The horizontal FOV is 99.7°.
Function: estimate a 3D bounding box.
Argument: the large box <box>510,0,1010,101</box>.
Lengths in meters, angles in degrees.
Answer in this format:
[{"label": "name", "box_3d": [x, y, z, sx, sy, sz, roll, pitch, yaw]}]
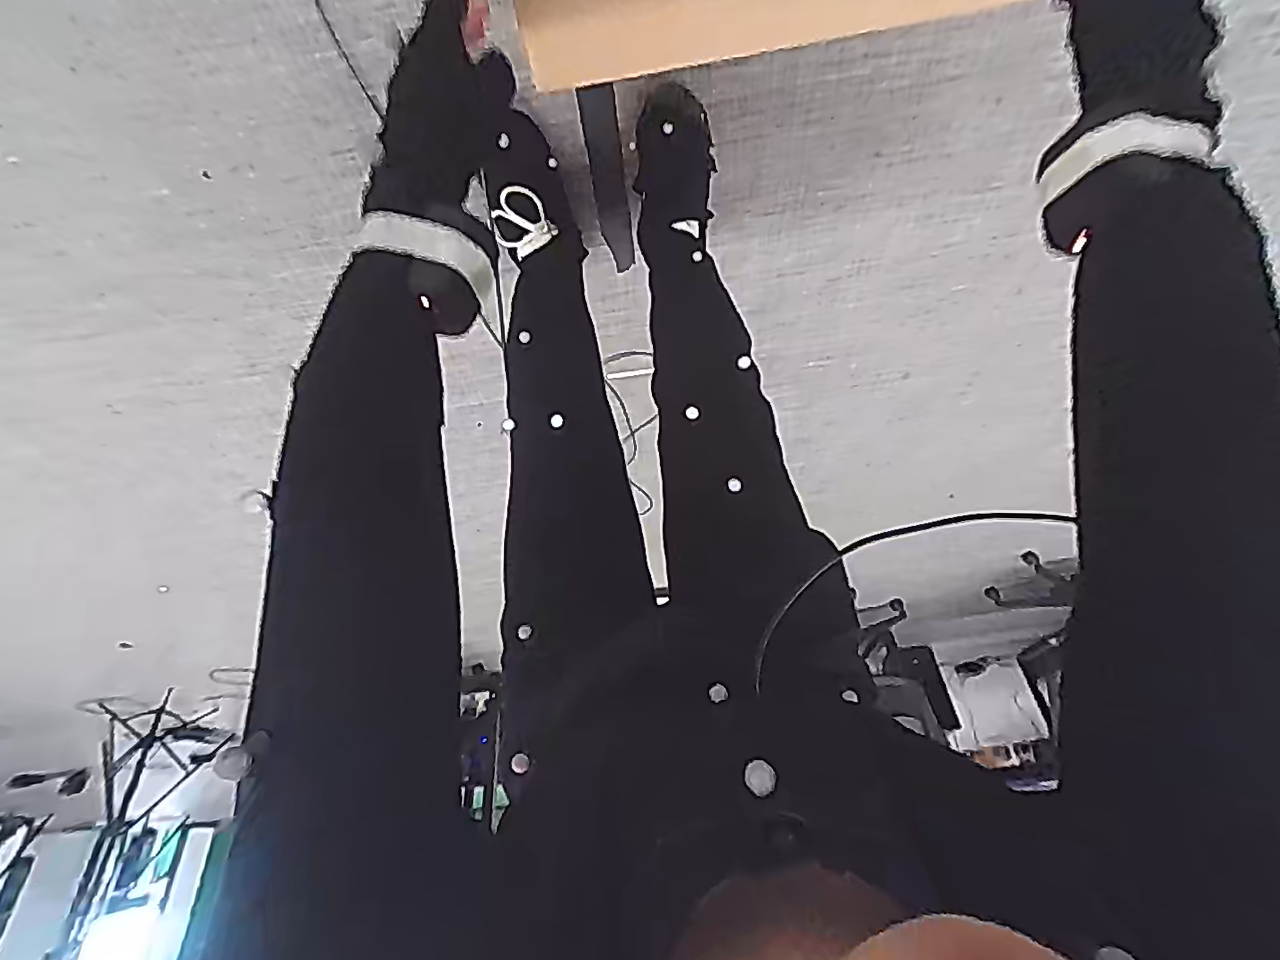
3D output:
[{"label": "large box", "box_3d": [0.073, -0.556, 0.399, 0.408, 0.320, 0.320, -9, 146, 2]}]
